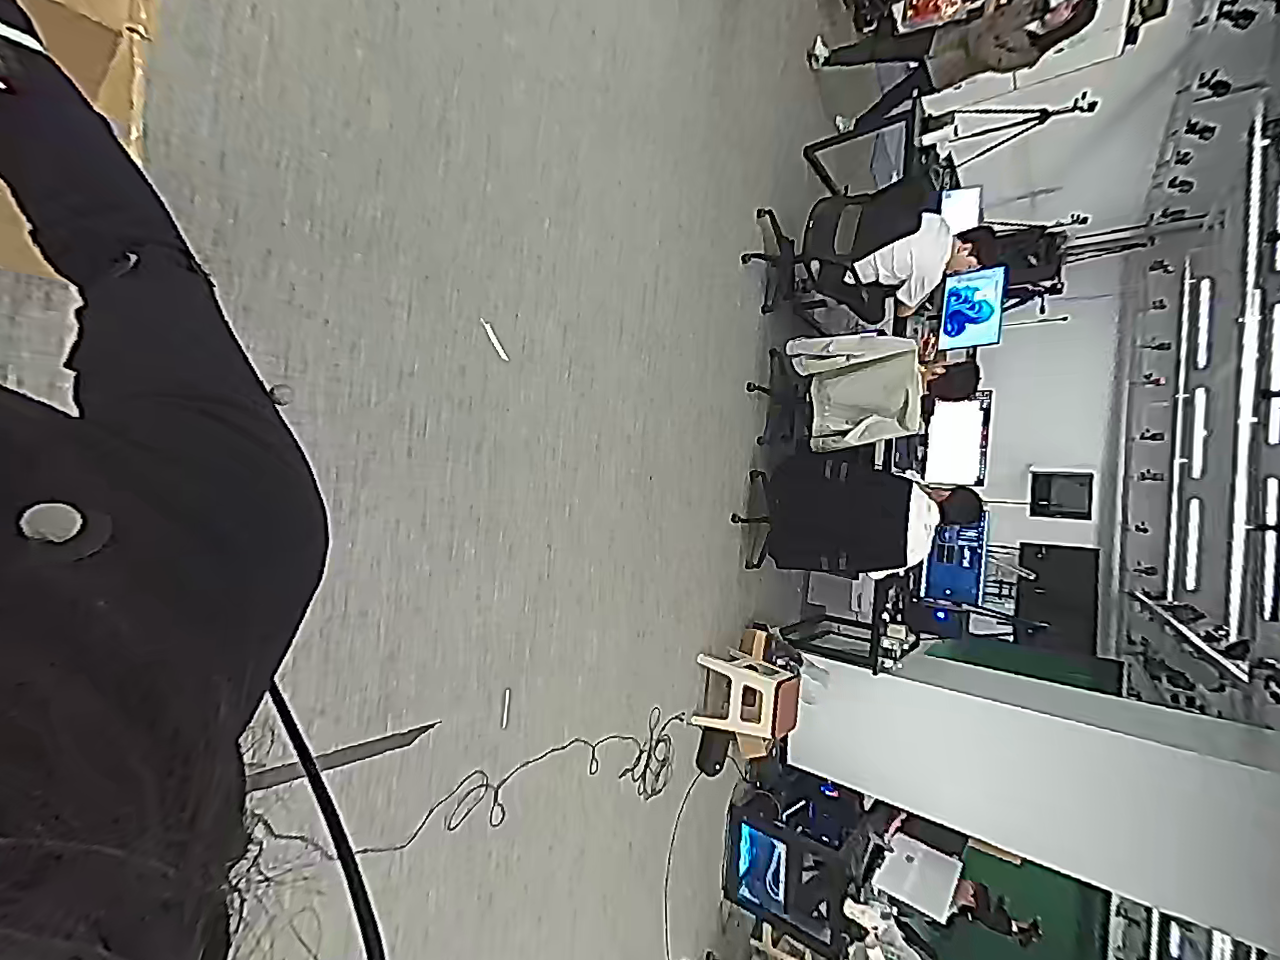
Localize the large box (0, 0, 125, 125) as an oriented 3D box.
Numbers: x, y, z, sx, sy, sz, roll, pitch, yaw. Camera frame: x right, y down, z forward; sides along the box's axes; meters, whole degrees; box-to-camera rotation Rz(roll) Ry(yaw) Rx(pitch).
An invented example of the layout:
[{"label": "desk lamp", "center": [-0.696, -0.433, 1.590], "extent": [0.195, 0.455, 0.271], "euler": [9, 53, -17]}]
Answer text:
[{"label": "large box", "center": [-0.685, -0.572, 0.405], "extent": [0.408, 0.320, 0.320], "euler": [5, 90, -54]}]
